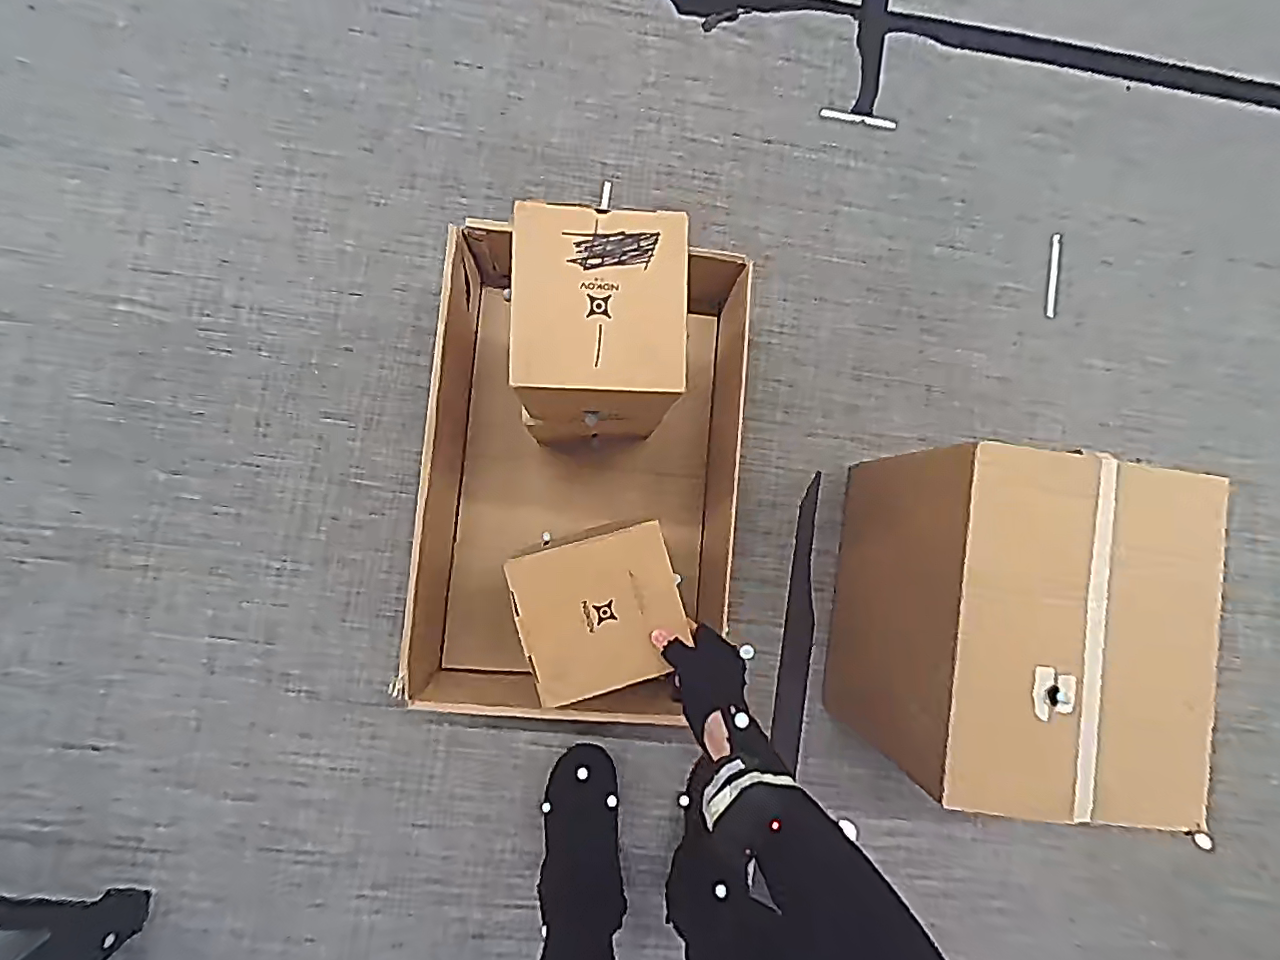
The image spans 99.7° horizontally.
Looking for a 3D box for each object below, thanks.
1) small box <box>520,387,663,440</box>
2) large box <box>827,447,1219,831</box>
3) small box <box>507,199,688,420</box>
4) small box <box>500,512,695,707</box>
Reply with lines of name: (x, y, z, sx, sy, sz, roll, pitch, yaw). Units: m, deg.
small box: (-0.069, -0.147, 0.743, 0.179, 0.176, 0.168, -3, 87, -5)
large box: (0.484, 0.181, 0.748, 0.320, 0.320, 0.408, 8, 87, -3)
small box: (-0.045, -0.167, 0.580, 0.168, 0.176, 0.179, 1, 88, -5)
small box: (-0.049, 0.140, 0.652, 0.179, 0.176, 0.168, -16, 91, -4)
